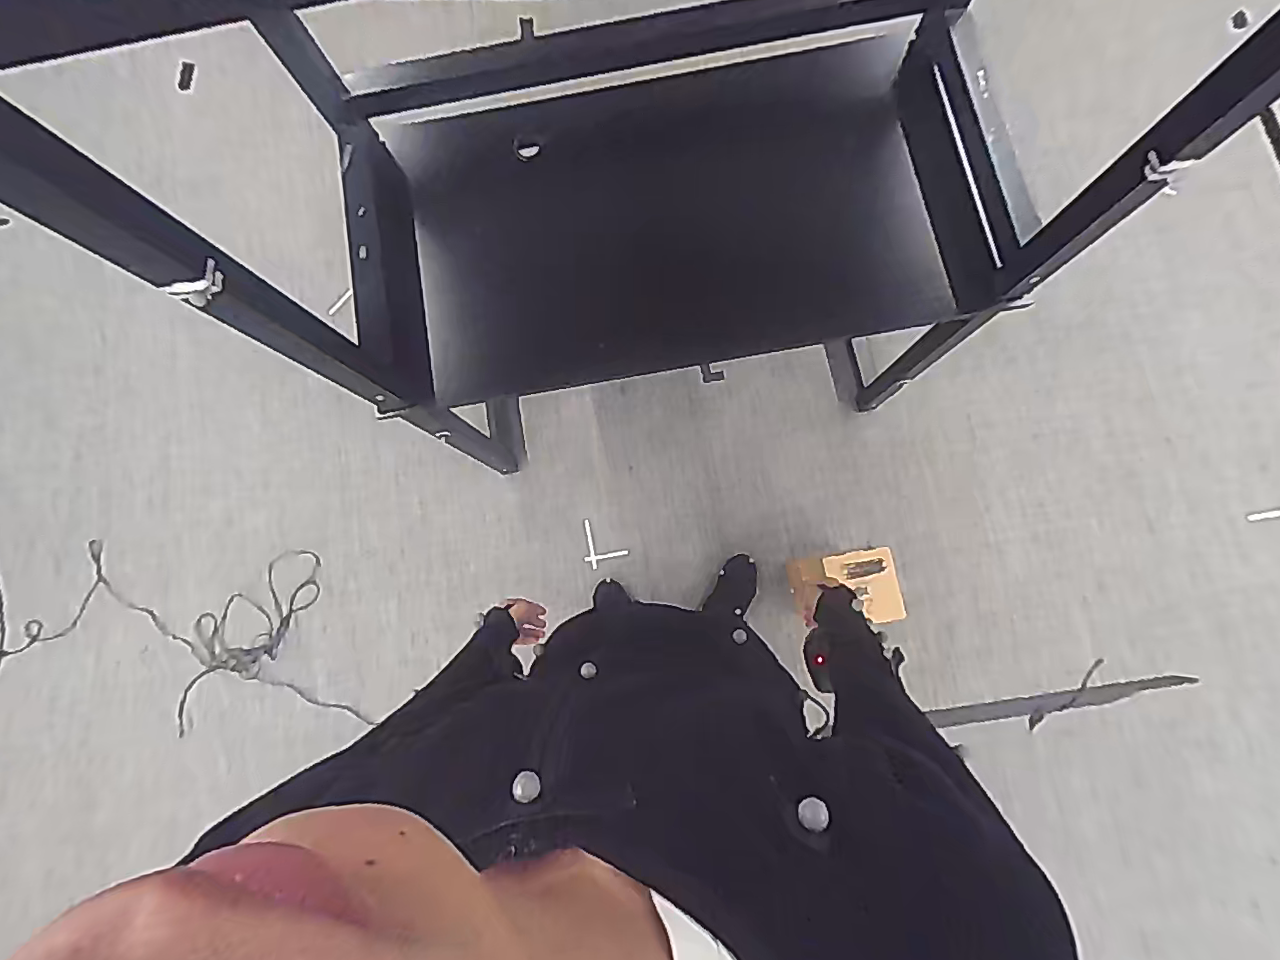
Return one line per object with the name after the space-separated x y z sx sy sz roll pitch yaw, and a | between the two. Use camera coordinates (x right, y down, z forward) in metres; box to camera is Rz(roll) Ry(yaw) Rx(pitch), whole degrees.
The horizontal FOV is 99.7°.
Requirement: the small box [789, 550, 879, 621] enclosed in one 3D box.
0.540 0.292 1.523 0.179 0.176 0.168 -12 80 2 | small box
